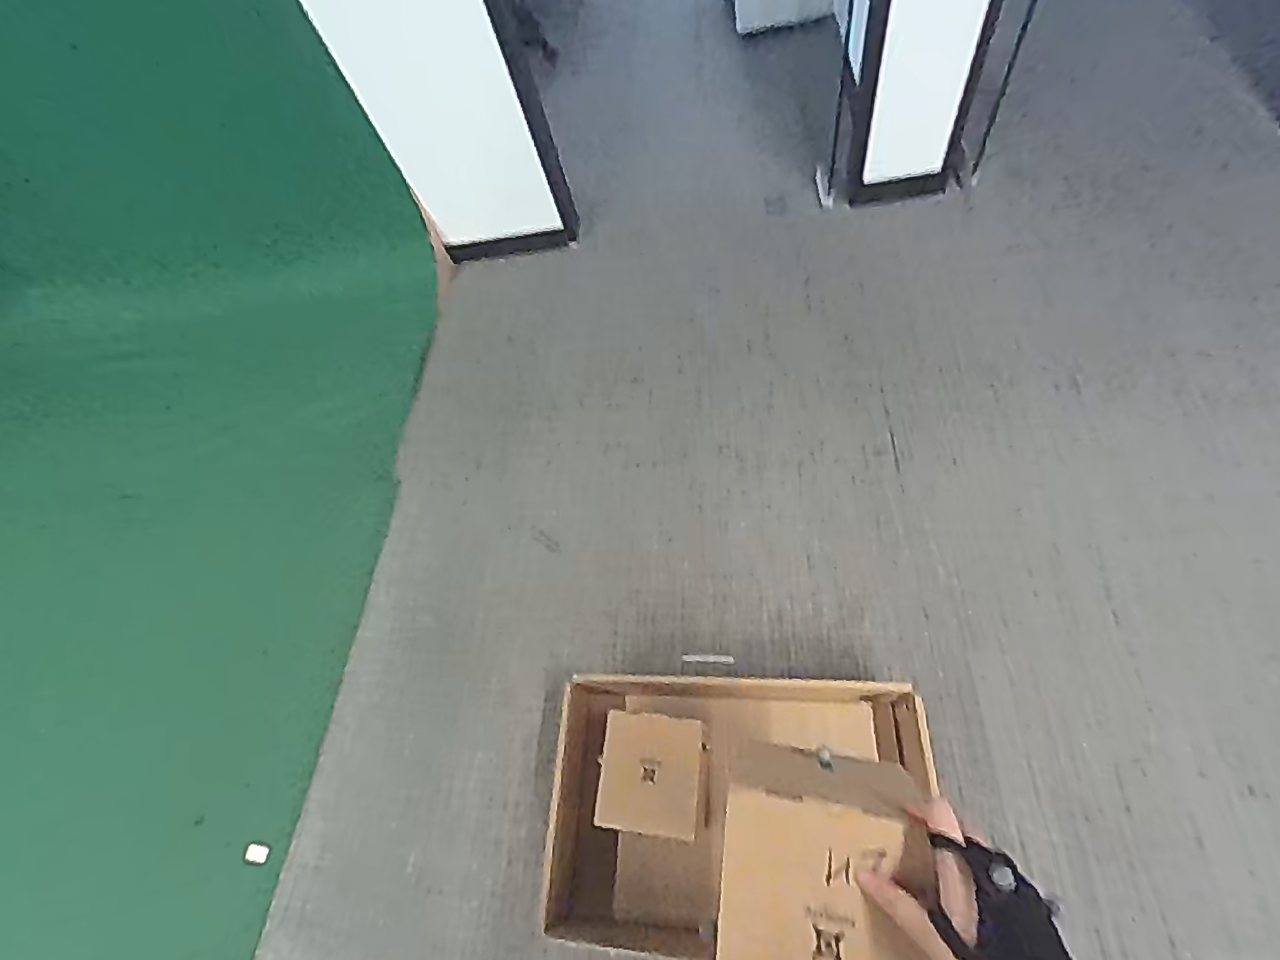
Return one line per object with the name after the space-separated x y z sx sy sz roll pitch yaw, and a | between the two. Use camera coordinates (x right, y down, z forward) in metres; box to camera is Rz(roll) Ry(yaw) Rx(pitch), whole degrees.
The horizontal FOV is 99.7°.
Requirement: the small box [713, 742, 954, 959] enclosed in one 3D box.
0.158 0.353 0.470 0.168 0.176 0.179 3 79 15 | small box

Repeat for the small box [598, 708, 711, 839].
0.036 0.519 0.965 0.168 0.176 0.179 1 62 13 | small box
